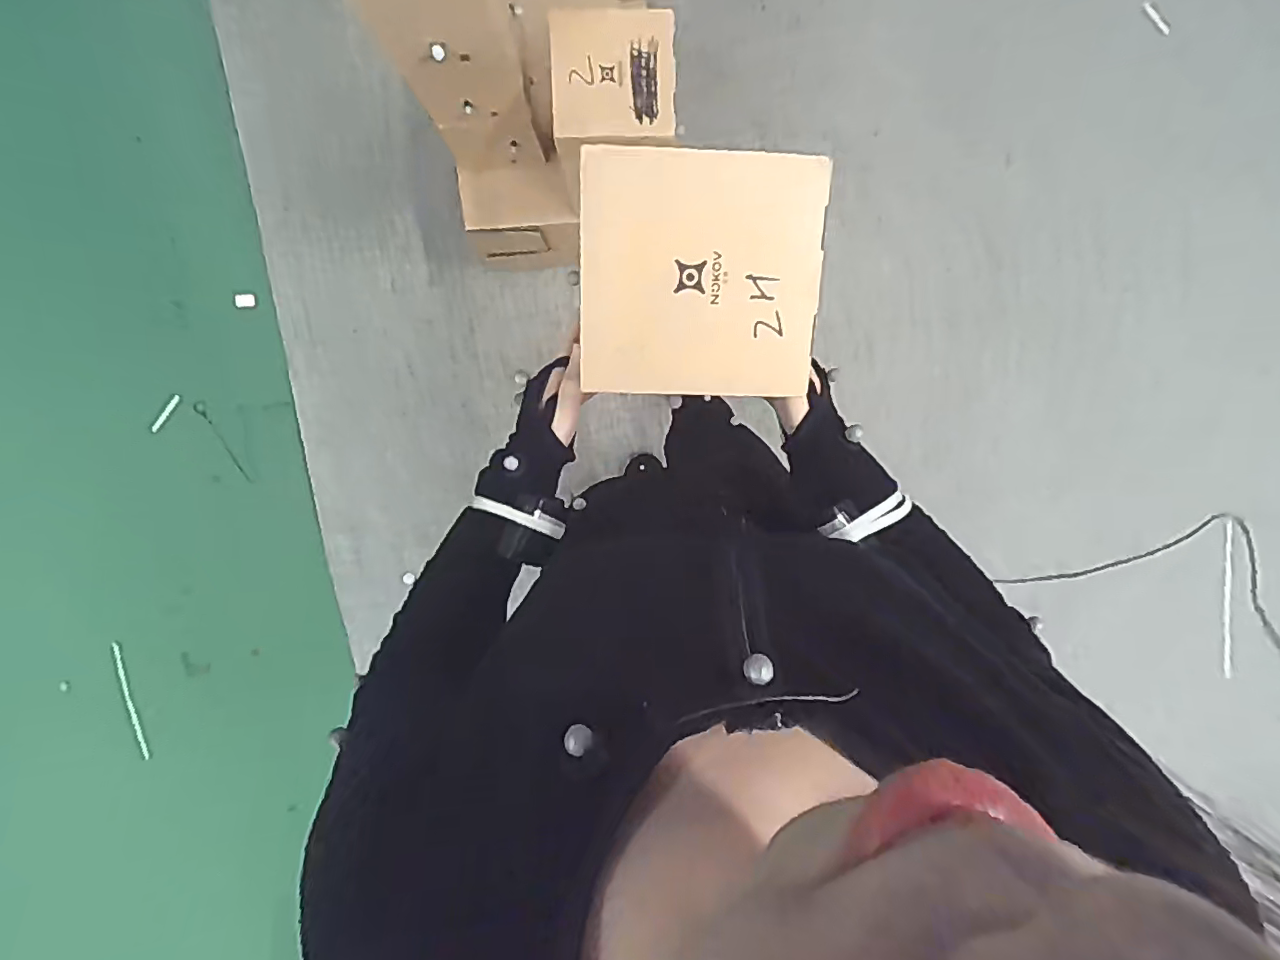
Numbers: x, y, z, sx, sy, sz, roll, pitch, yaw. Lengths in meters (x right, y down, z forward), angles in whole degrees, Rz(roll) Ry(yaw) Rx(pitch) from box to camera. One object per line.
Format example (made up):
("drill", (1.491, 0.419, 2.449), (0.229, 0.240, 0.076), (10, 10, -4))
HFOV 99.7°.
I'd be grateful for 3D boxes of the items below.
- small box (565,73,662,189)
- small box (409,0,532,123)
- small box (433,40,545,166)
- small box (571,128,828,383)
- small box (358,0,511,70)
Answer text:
("small box", (-0.046, -0.604, 0.996), (0.168, 0.176, 0.179), (-2, 96, -1))
("small box", (-0.266, -0.682, 0.823), (0.168, 0.176, 0.179), (-4, 98, 0))
("small box", (-0.272, -0.697, 0.985), (0.168, 0.176, 0.179), (-4, 96, 0))
("small box", (0.036, -0.174, 0.460), (0.179, 0.176, 0.168), (1, 105, -3))
("small box", (-0.263, -0.650, 0.662), (0.168, 0.176, 0.179), (-4, 97, 0))
